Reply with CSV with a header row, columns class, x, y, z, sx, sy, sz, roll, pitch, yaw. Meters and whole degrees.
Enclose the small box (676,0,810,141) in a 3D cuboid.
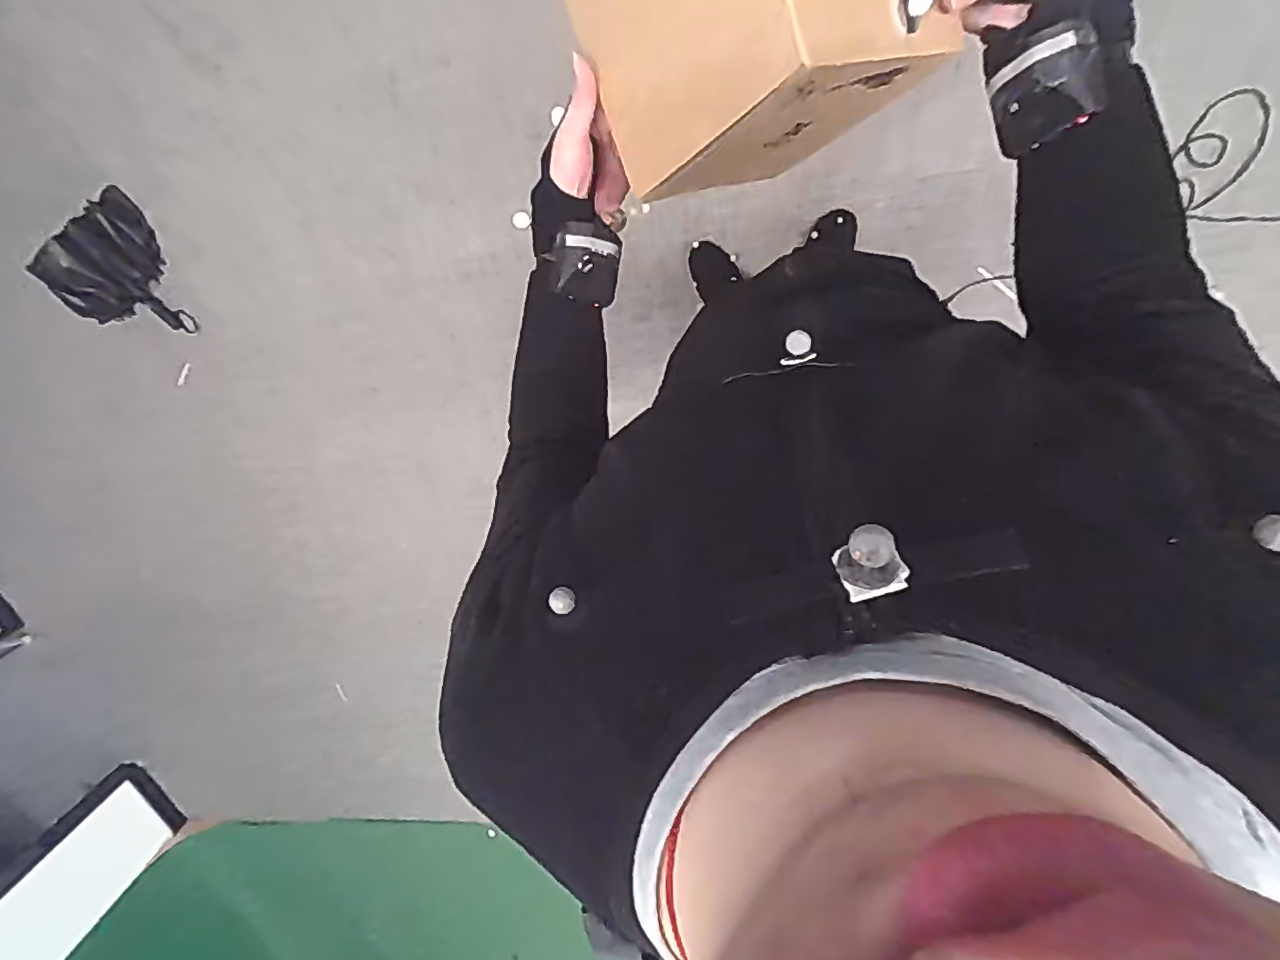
class,x,y,z,sx,sy,sz,roll,pitch,yaw
small box,0.186,-0.775,1.013,0.168,0.176,0.179,40,117,-13
